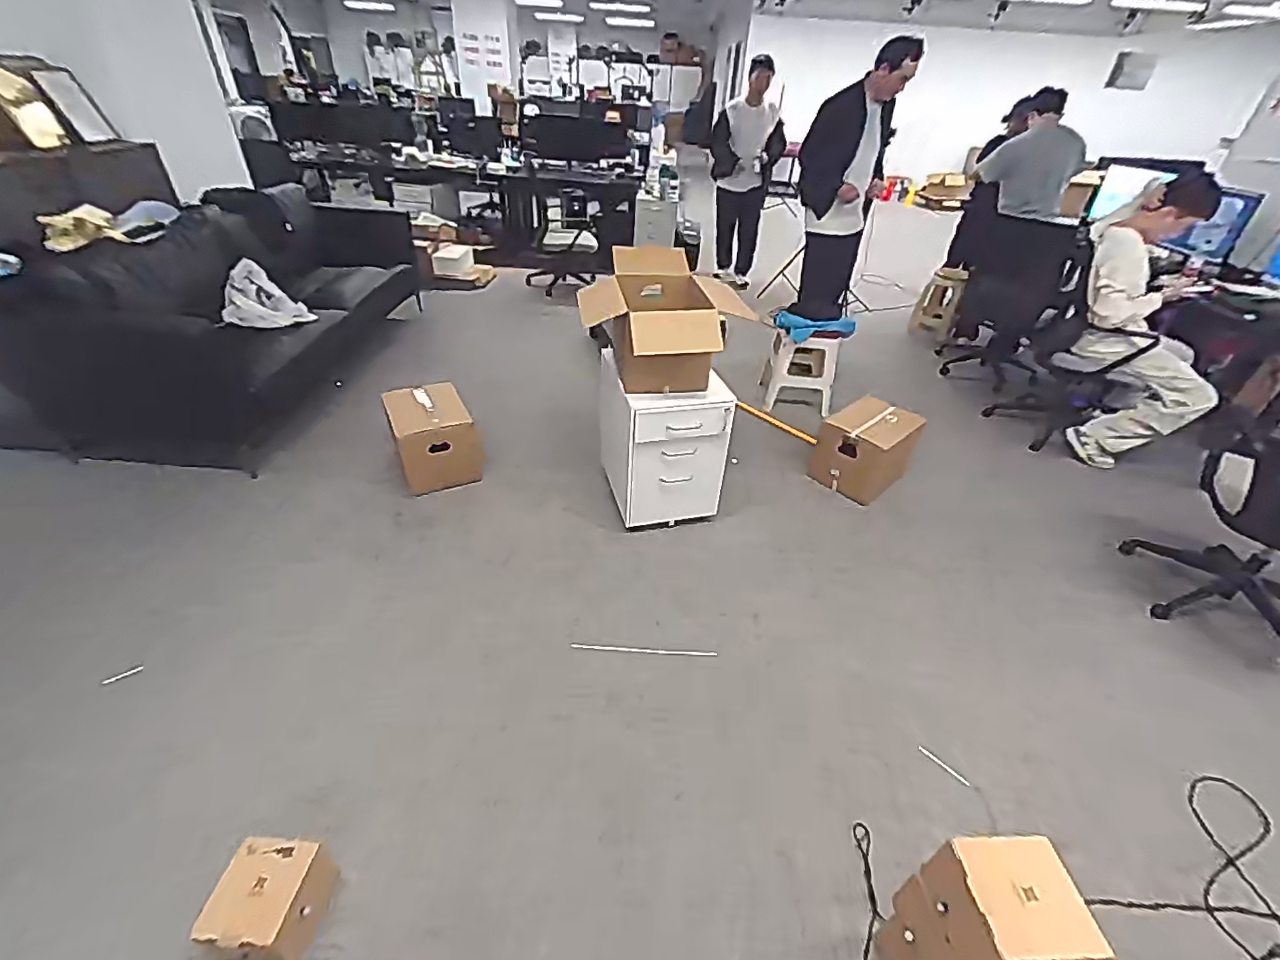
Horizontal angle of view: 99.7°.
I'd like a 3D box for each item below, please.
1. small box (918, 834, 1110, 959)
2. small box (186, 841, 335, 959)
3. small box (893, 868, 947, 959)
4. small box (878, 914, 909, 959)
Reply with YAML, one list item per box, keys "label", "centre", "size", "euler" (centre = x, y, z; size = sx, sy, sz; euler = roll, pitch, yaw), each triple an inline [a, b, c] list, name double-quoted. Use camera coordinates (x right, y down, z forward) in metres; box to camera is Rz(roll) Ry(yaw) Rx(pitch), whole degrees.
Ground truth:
- label: "small box"
  centre: [0.608, 0.720, 0.906]
  size: [0.179, 0.176, 0.168]
  euler: [0, 36, -3]
- label: "small box"
  centre: [-0.775, 0.894, 1.132]
  size: [0.168, 0.176, 0.179]
  euler: [4, 36, 2]
- label: "small box"
  centre: [0.606, 0.849, 1.006]
  size: [0.179, 0.176, 0.168]
  euler: [0, 35, -2]
- label: "small box"
  centre: [0.603, 0.992, 1.087]
  size: [0.179, 0.176, 0.168]
  euler: [-1, 37, -6]
